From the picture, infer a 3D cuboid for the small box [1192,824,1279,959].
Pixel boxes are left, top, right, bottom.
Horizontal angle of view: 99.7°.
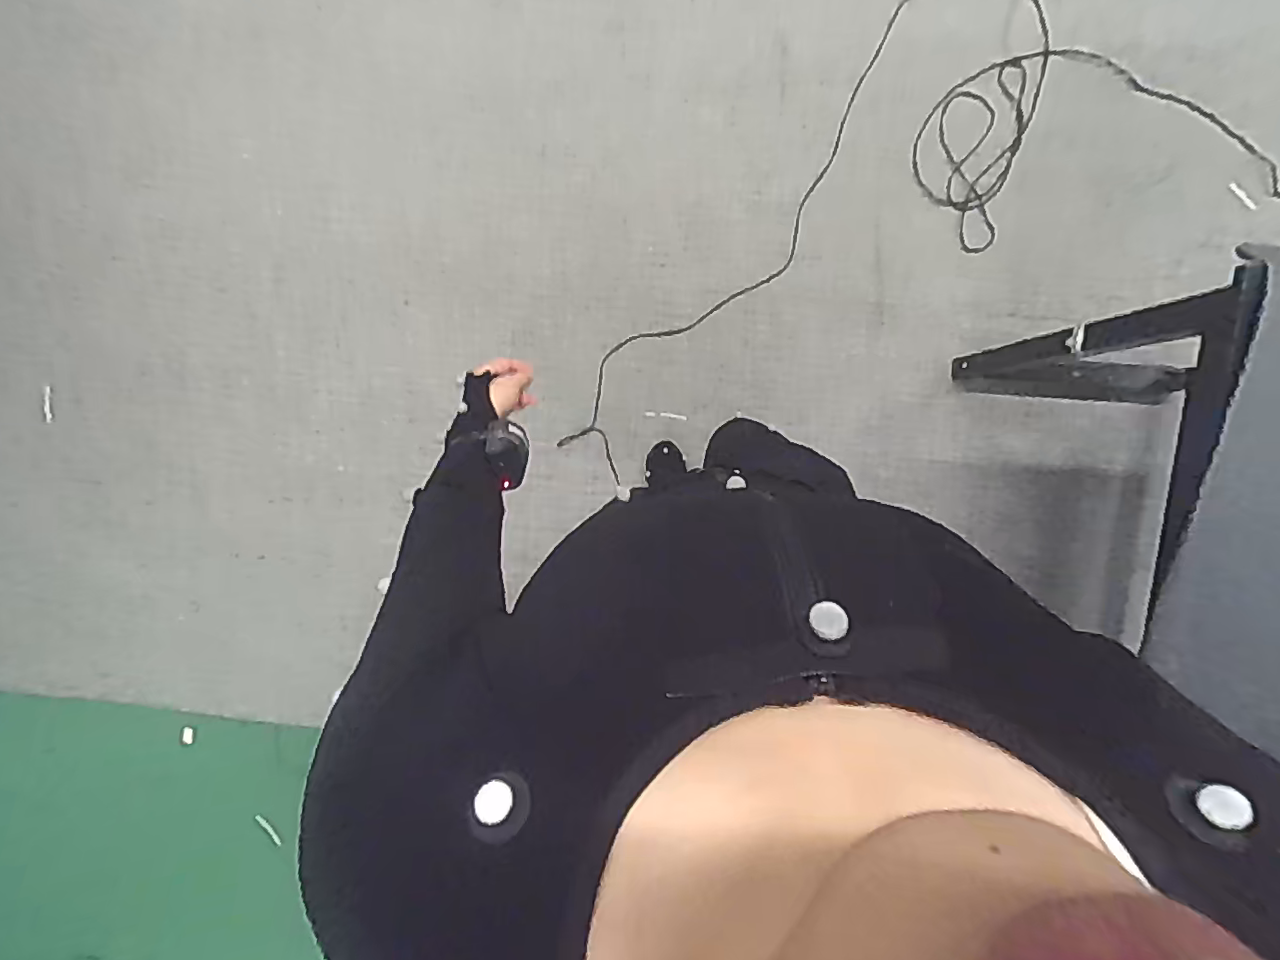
[{"bbox_3d":[0.870,0.572,0.684,0.179,0.176,0.168,5,95,0],"label":"small box"}]
